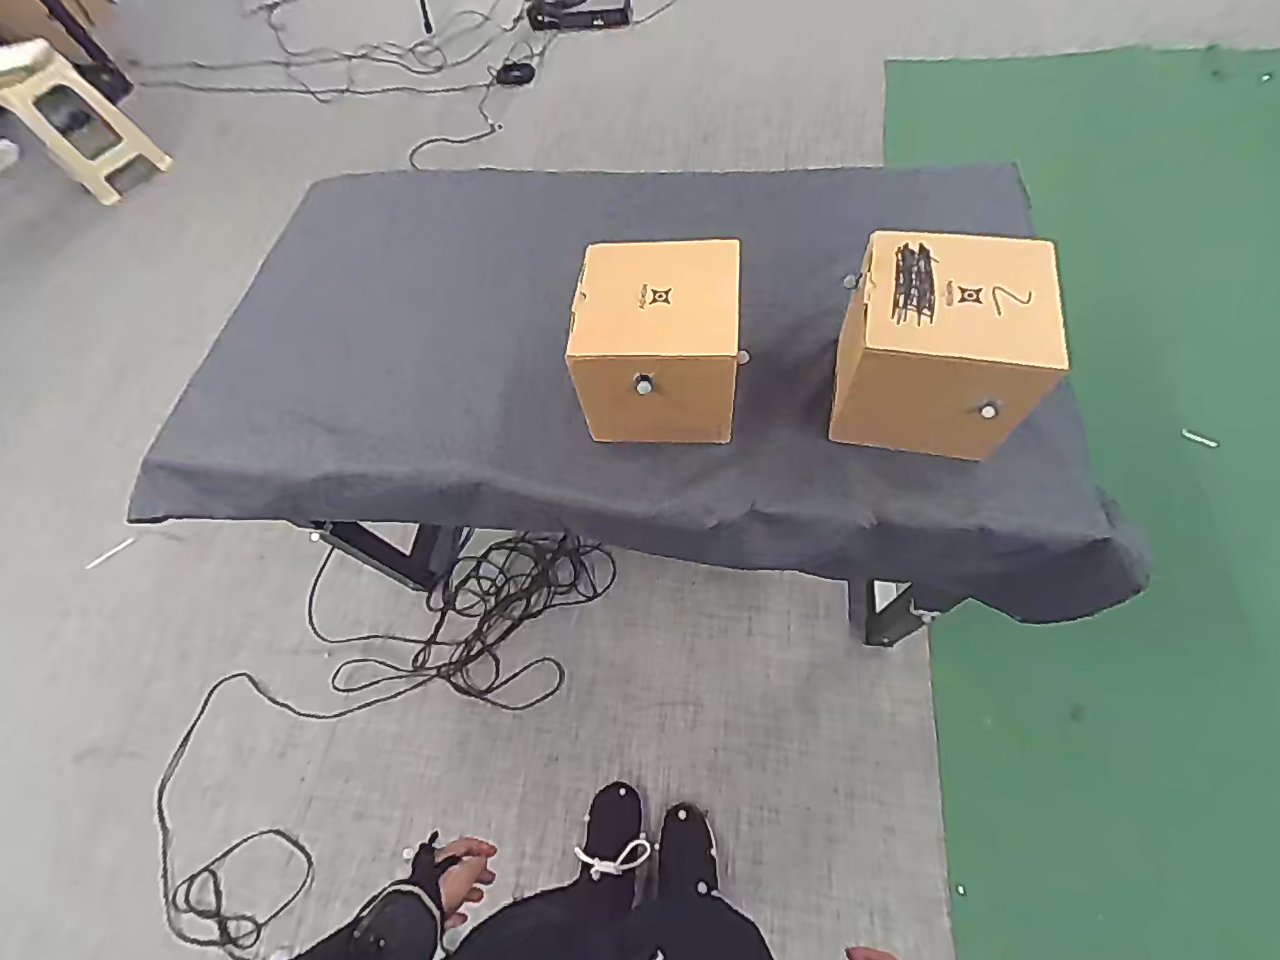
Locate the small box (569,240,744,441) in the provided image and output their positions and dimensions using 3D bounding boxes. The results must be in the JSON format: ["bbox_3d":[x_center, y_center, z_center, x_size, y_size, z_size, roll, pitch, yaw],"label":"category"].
[{"bbox_3d":[0.029,-0.157,0.643,0.179,0.176,0.168,1,63,9],"label":"small box"}]
